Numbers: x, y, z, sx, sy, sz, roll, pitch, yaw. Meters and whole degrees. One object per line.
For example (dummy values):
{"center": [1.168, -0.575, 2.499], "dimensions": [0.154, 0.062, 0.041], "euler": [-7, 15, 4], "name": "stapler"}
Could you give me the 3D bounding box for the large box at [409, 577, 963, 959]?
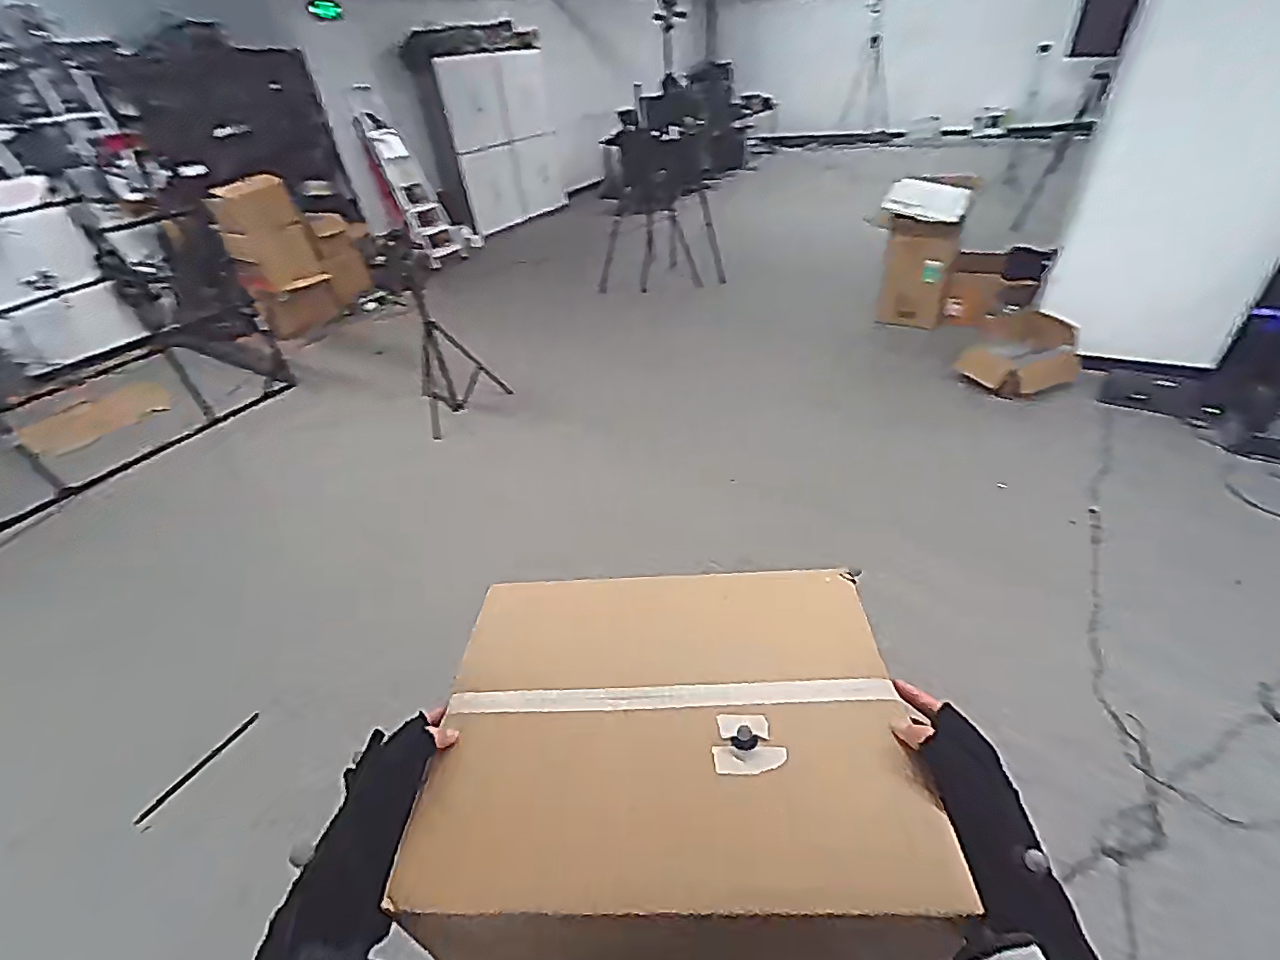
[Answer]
{"center": [0.042, 0.329, 0.585], "dimensions": [0.408, 0.320, 0.320], "euler": [-3, 35, 5], "name": "large box"}
